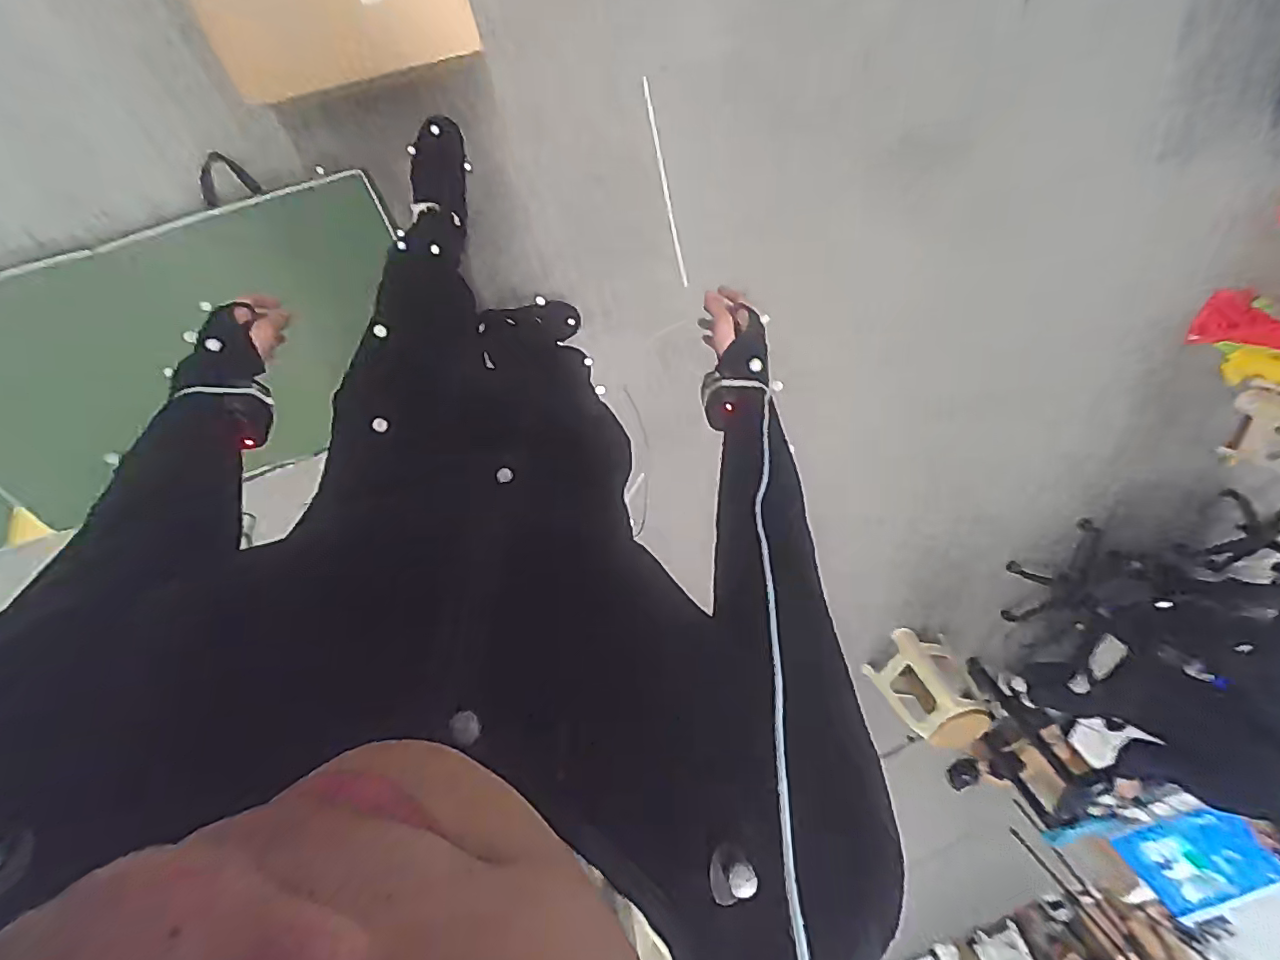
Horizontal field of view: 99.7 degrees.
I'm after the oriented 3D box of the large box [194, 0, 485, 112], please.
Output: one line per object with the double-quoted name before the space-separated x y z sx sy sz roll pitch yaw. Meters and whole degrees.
"large box" -0.515 -0.866 0.933 0.408 0.320 0.320 -17 127 -4
